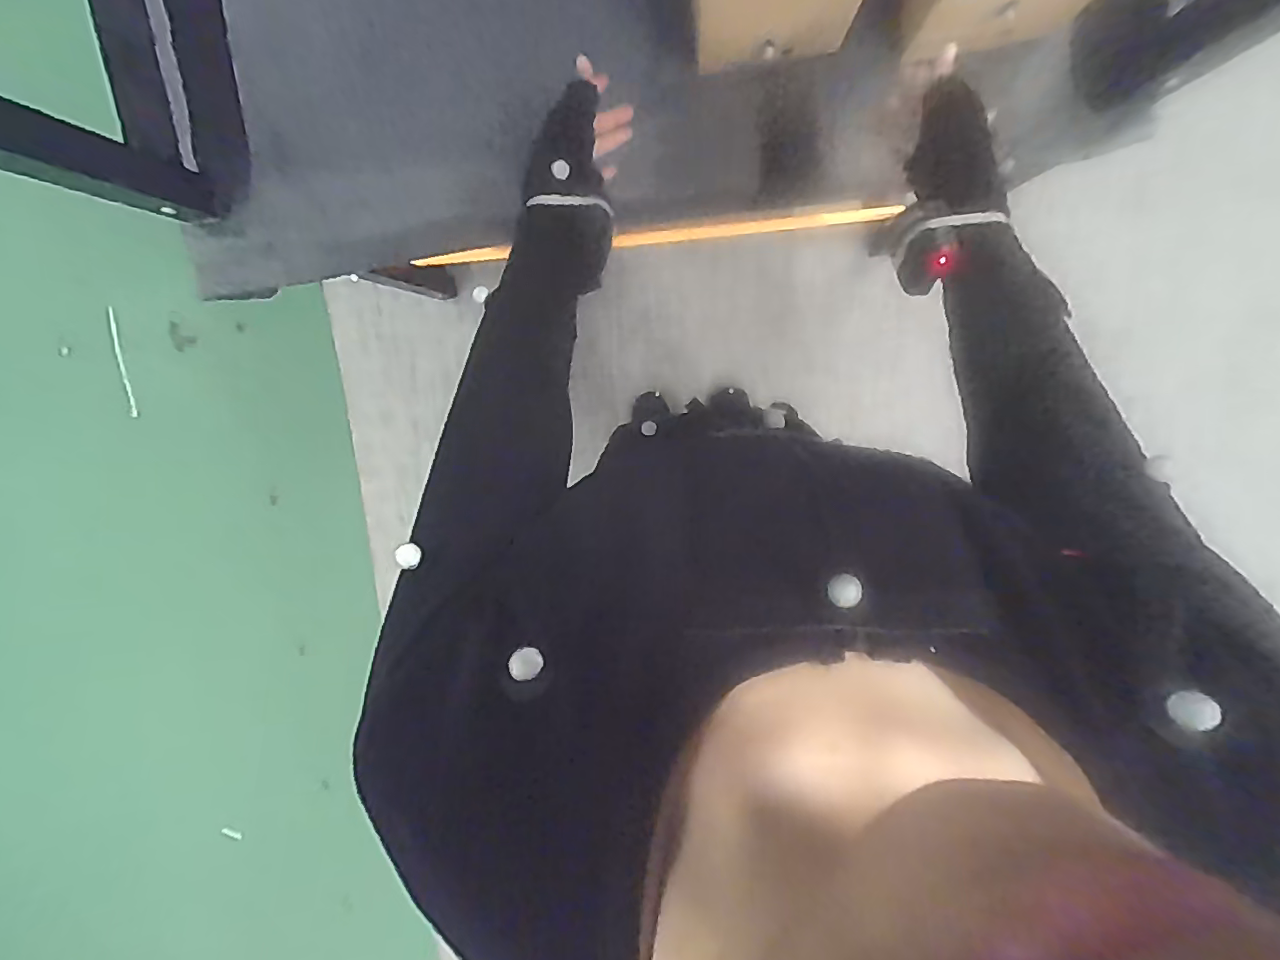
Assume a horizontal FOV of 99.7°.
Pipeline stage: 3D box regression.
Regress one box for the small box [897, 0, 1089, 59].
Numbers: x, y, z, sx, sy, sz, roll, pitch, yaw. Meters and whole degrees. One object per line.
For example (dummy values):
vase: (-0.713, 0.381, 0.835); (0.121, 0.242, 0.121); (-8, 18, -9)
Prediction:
small box: (0.366, -0.552, 0.527); (0.168, 0.176, 0.179); (-5, 100, 6)
